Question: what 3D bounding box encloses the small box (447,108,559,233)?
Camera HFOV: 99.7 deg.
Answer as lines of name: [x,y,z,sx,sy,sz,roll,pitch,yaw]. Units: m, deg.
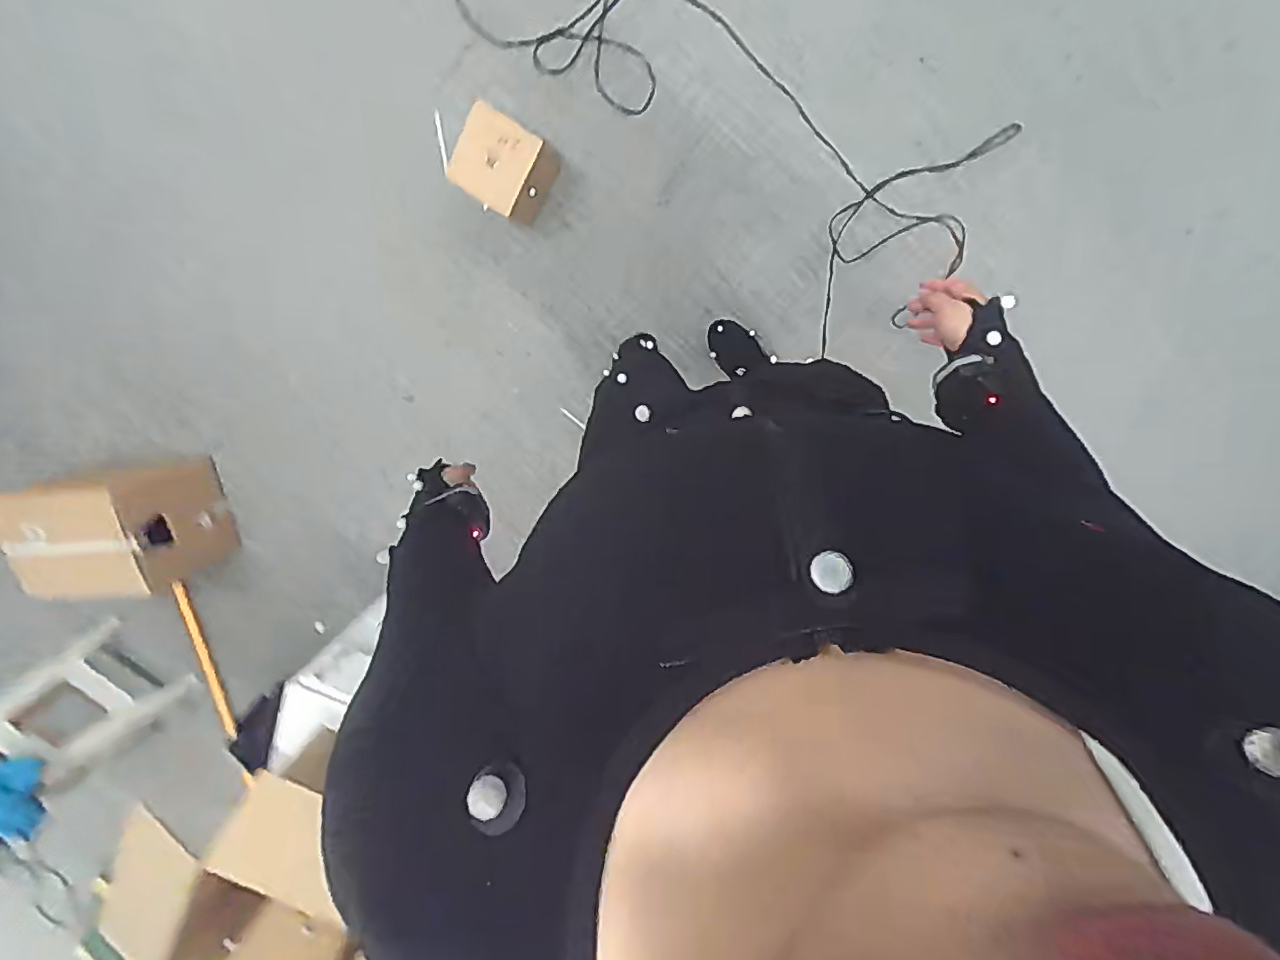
small box: [-0.305,-0.696,1.242,0.168,0.176,0.179,32,108,-4]
